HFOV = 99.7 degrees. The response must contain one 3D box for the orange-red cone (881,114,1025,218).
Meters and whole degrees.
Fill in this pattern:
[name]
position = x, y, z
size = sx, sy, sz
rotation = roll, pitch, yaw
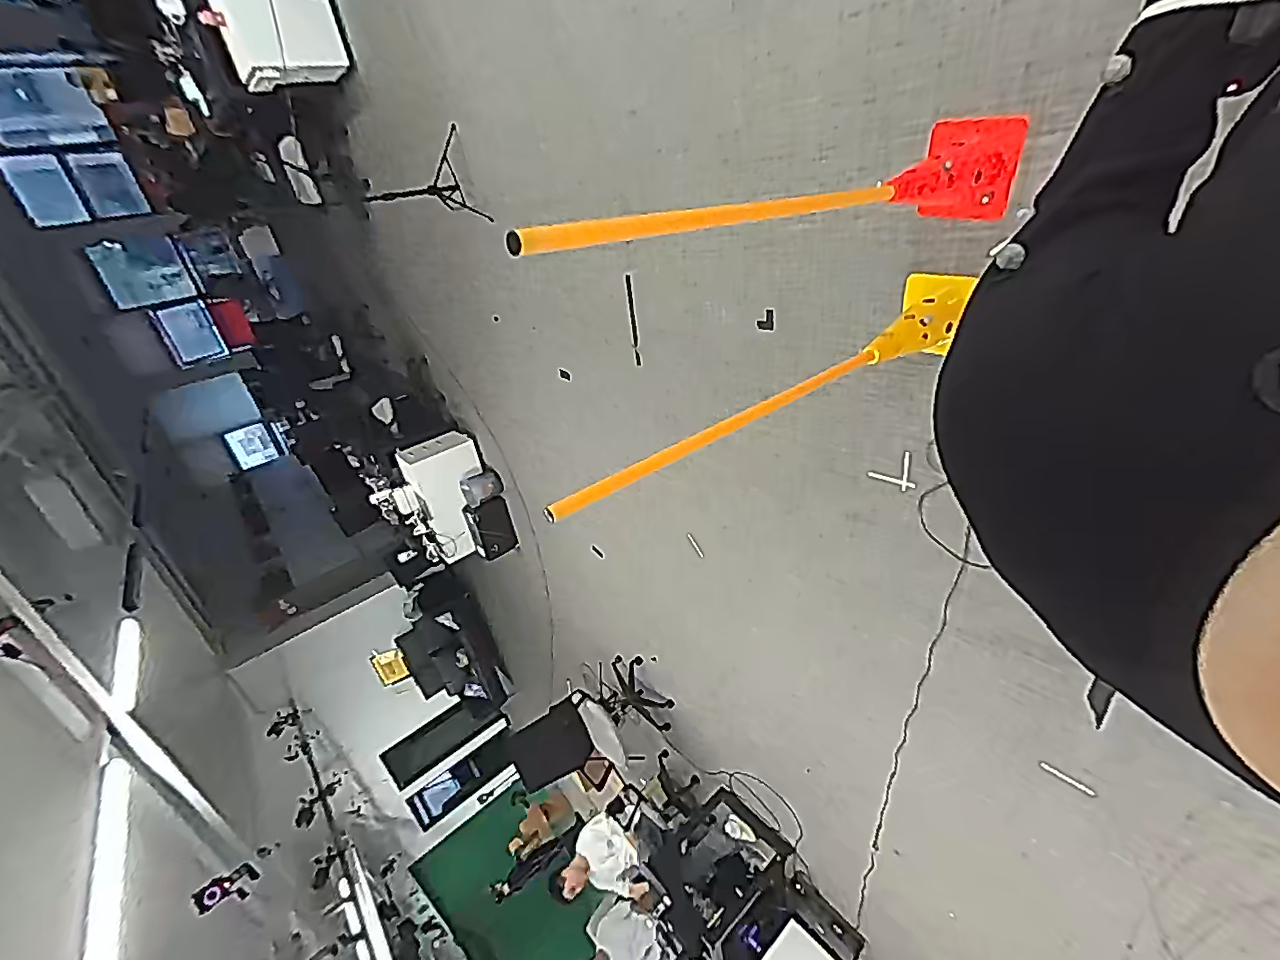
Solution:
[orange-red cone]
position = 0.608, -0.639, 1.129
size = 0.198, 0.360, 0.199
rotation = 30, 136, 39
